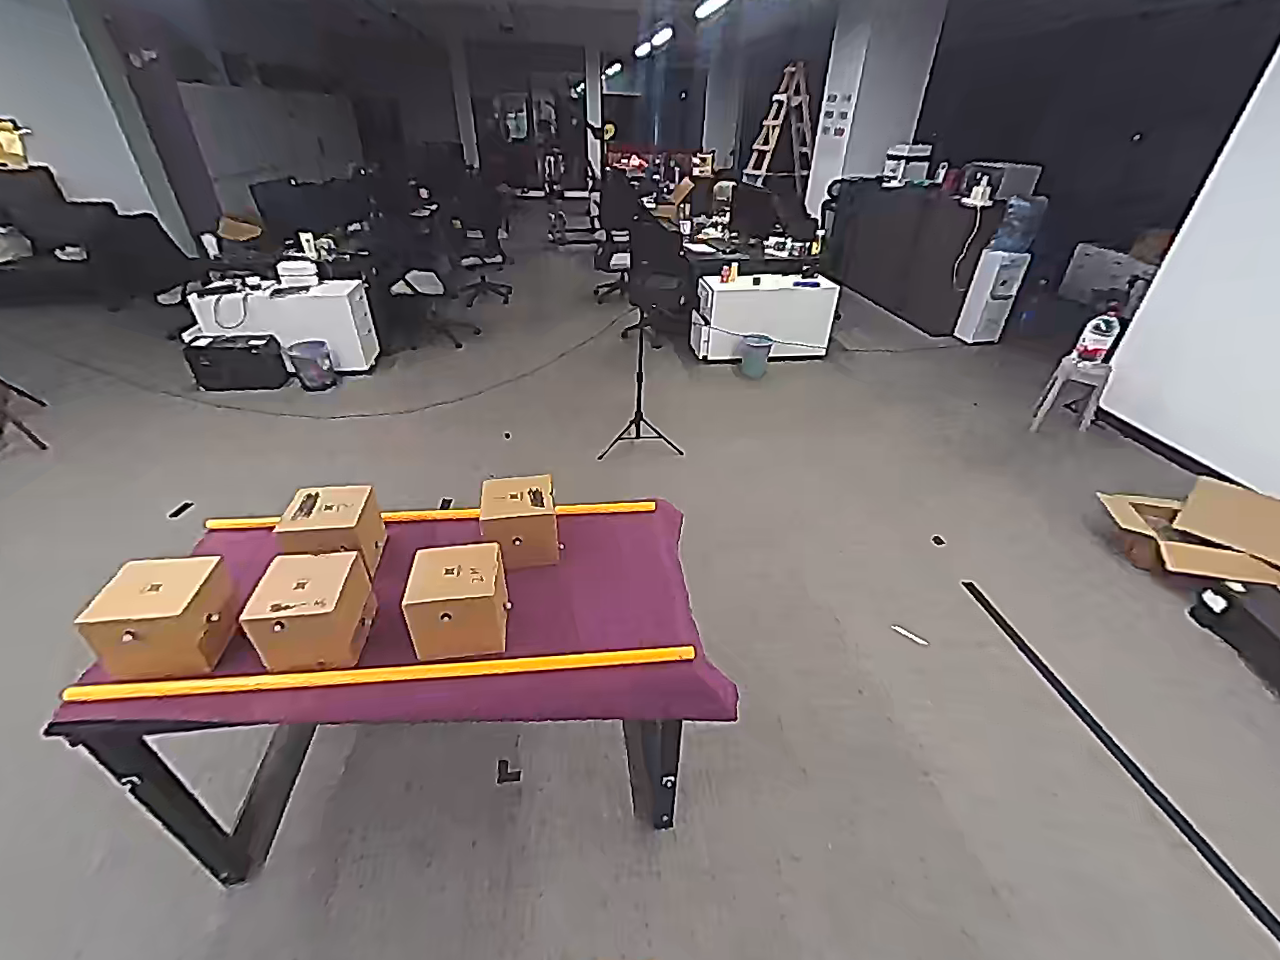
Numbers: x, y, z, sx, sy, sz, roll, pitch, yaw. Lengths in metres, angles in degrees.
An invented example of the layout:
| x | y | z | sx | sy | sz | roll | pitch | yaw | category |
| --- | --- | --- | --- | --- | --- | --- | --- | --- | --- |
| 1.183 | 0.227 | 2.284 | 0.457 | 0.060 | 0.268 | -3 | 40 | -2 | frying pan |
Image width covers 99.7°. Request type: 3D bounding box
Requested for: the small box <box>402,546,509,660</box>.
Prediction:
| x | y | z | sx | sy | sz | roll | pitch | yaw | category |
| --- | --- | --- | --- | --- | --- | --- | --- | --- | --- |
| -0.379 | 0.261 | 1.142 | 0.179 | 0.176 | 0.168 | -4 | 33 | -8 | small box |

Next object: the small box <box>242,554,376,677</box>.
| x | y | z | sx | sy | sz | roll | pitch | yaw | category |
| --- | --- | --- | --- | --- | --- | --- | --- | --- | --- |
| -0.664 | 0.276 | 1.113 | 0.168 | 0.176 | 0.179 | -4 | 34 | -6 | small box |

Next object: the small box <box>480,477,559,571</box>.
| x | y | z | sx | sy | sz | roll | pitch | yaw | category |
| --- | --- | --- | --- | --- | --- | --- | --- | --- | --- |
| -0.297 | 0.111 | 1.368 | 0.179 | 0.176 | 0.168 | -6 | 35 | -8 | small box |

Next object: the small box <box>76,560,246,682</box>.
| x | y | z | sx | sy | sz | roll | pitch | yaw | category |
| --- | --- | --- | --- | --- | --- | --- | --- | --- | --- |
| -0.943 | 0.283 | 1.091 | 0.179 | 0.176 | 0.168 | -3 | 34 | -7 | small box |
